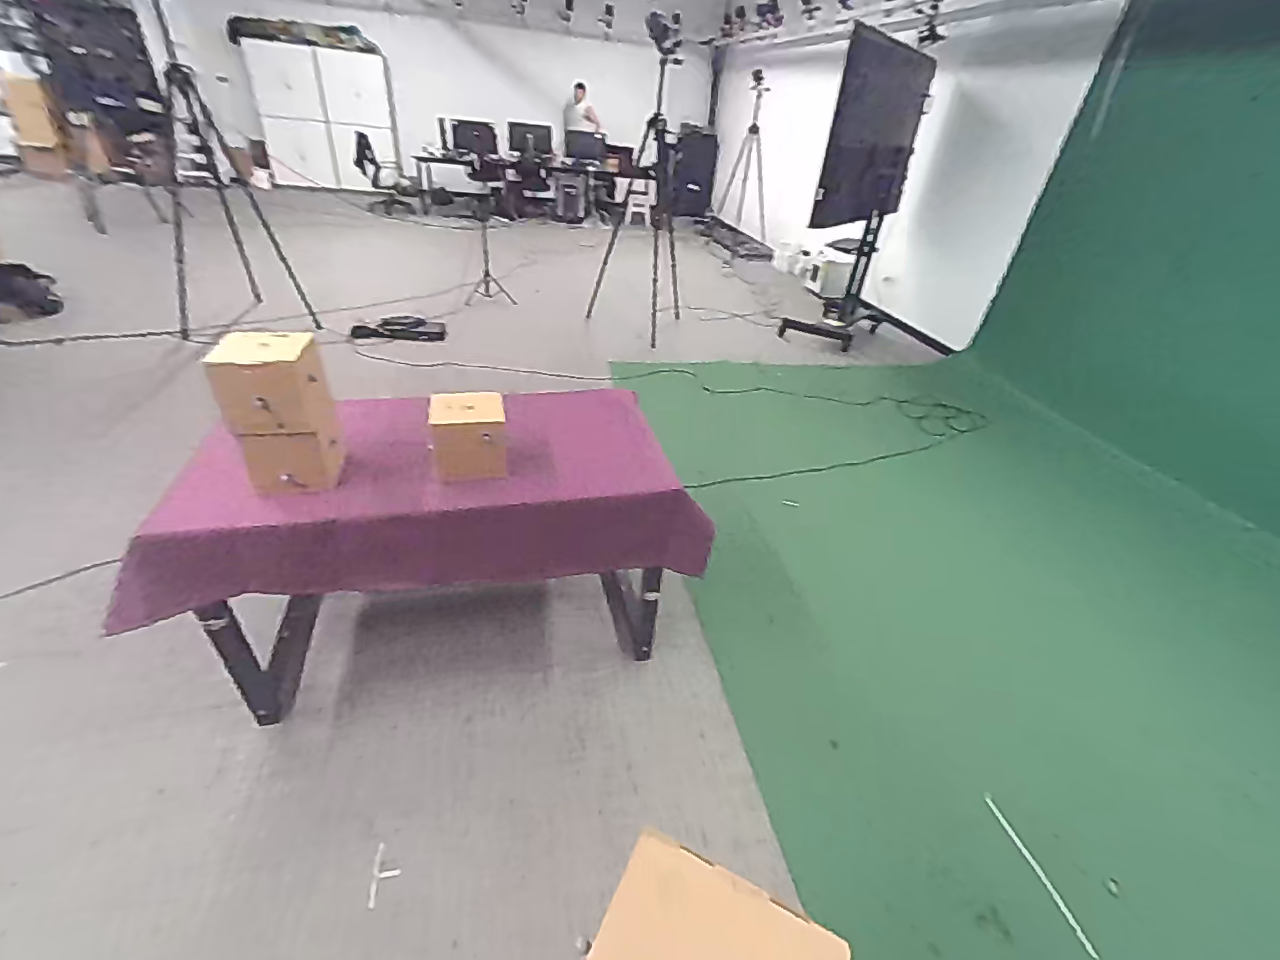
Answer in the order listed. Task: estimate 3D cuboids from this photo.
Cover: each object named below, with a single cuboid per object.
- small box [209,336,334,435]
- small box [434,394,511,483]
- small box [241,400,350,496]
[{"bbox_3d":[-0.804,-0.209,1.203,0.168,0.176,0.179,-3,36,-14],"label":"small box"},{"bbox_3d":[-0.429,-0.108,1.400,0.179,0.176,0.168,-5,35,-15],"label":"small box"},{"bbox_3d":[-0.816,-0.079,1.303,0.168,0.176,0.179,-4,36,-14],"label":"small box"}]
